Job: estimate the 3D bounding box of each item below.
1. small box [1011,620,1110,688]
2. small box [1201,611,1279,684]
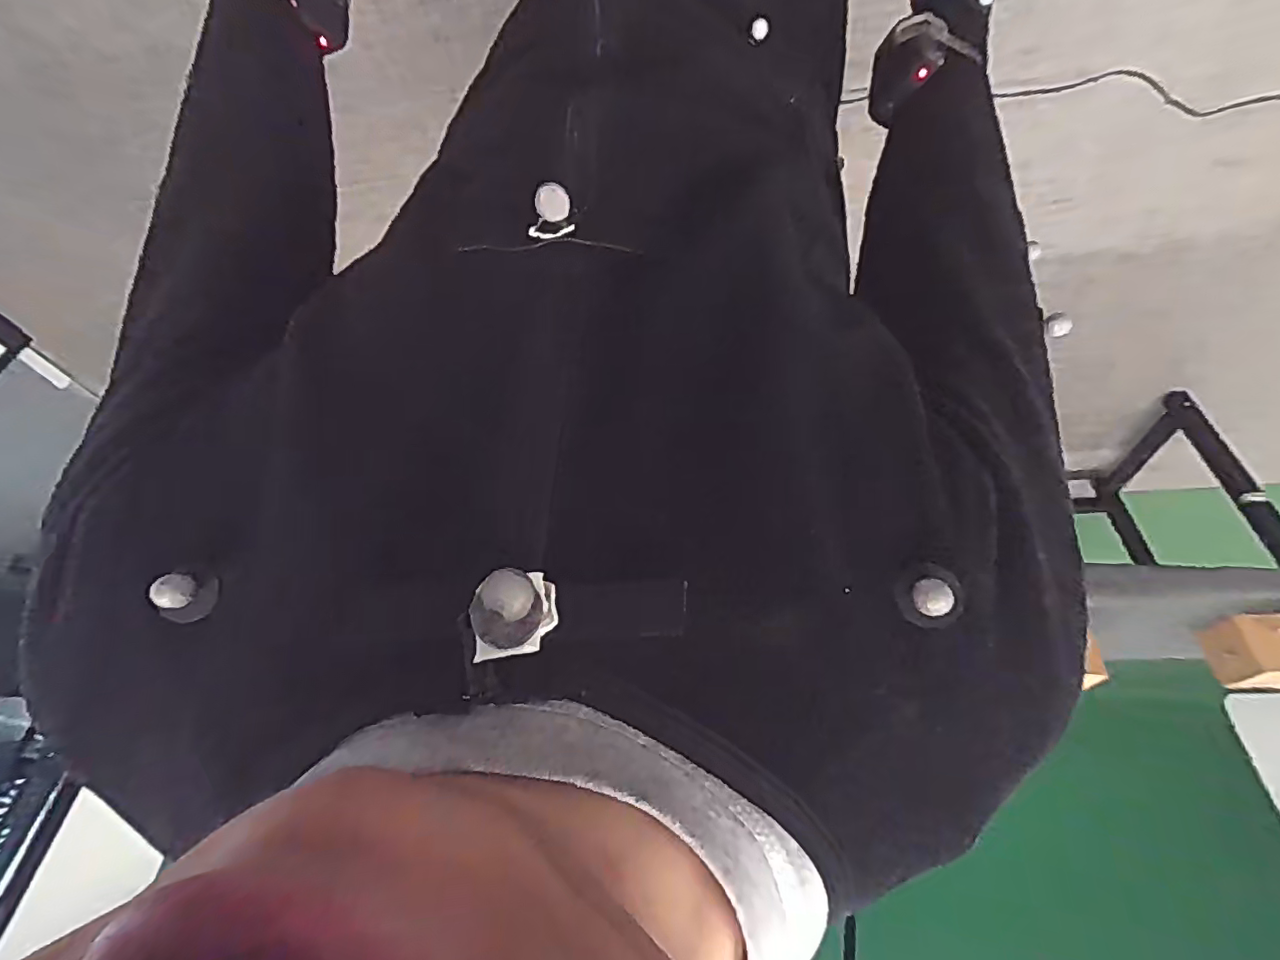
[{"bbox_3d":[1.314,0.549,1.707,0.168,0.176,0.179,-3,146,9],"label":"small box"},{"bbox_3d":[1.832,0.496,1.598,0.168,0.176,0.179,-4,144,10],"label":"small box"}]
